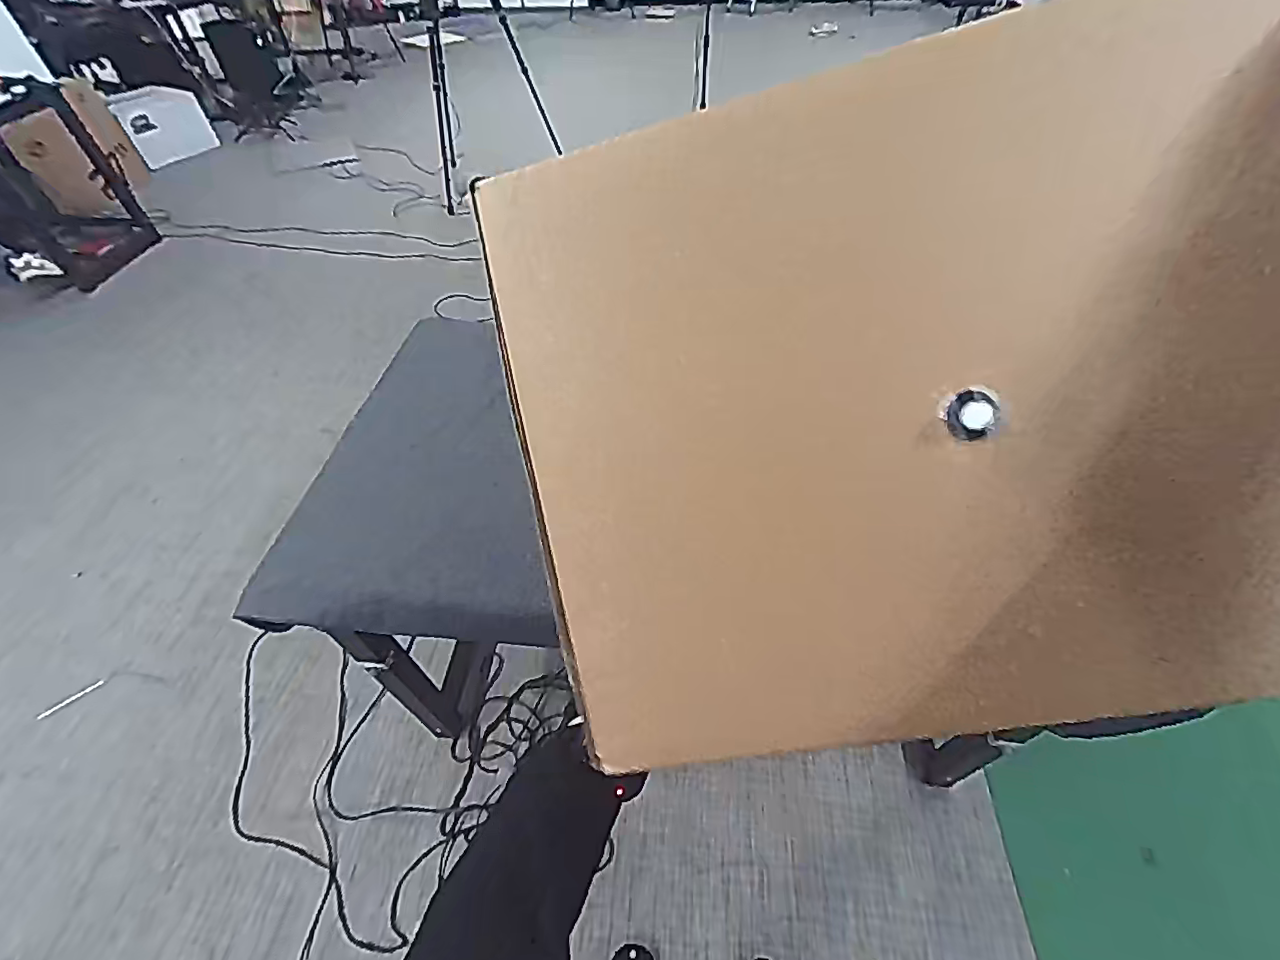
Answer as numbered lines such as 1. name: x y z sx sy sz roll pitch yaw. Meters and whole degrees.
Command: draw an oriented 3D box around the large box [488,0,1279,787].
1. large box: 0.168 -0.038 0.398 0.408 0.320 0.320 -14 91 8
